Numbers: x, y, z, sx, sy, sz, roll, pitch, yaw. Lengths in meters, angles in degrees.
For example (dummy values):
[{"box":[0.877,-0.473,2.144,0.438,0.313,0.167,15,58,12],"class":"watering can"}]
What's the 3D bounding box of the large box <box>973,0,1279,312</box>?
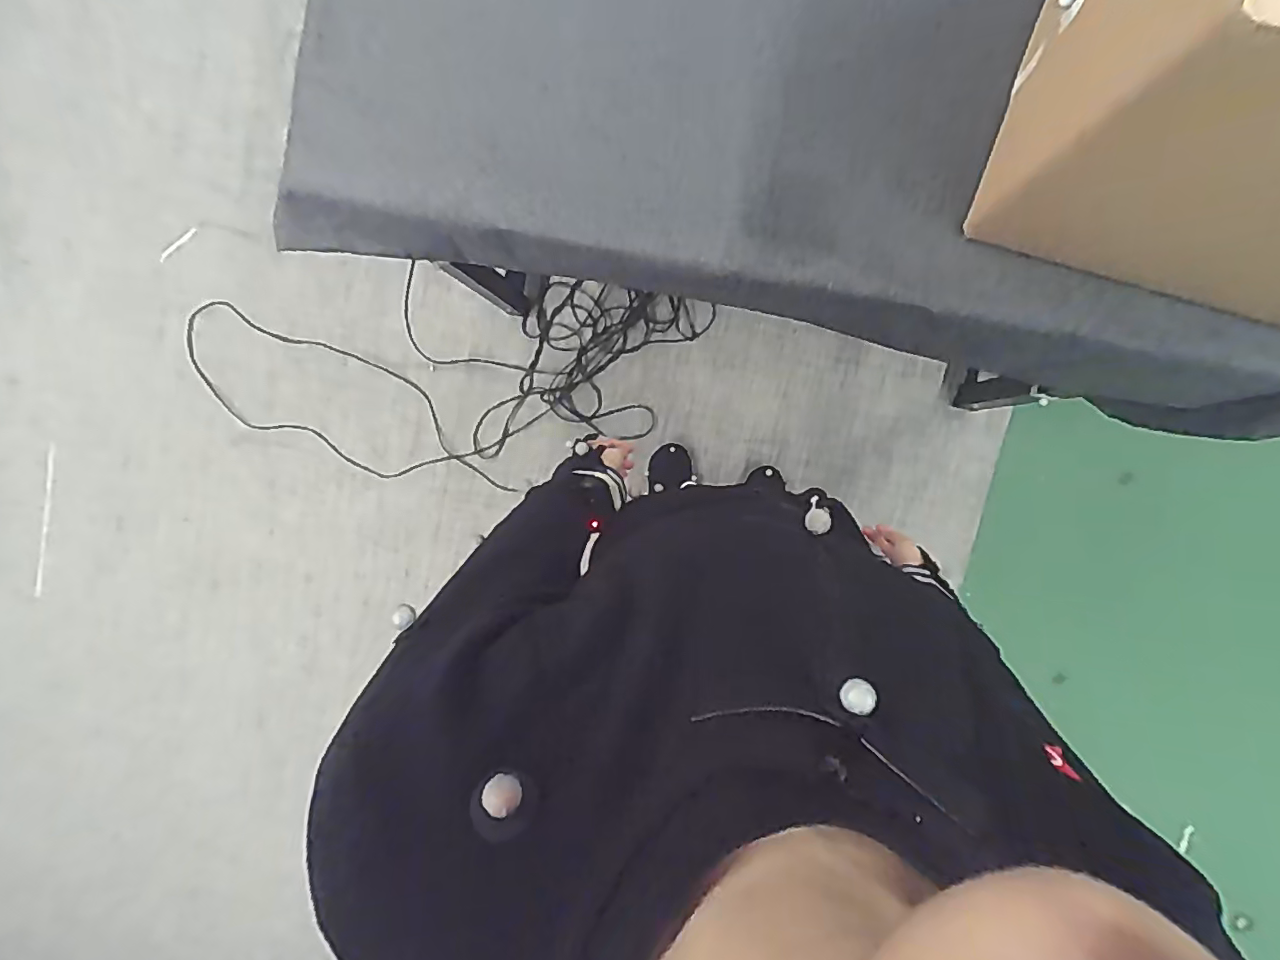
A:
[{"box":[0.569,-0.346,0.411,0.408,0.320,0.320,18,96,4],"class":"large box"}]
